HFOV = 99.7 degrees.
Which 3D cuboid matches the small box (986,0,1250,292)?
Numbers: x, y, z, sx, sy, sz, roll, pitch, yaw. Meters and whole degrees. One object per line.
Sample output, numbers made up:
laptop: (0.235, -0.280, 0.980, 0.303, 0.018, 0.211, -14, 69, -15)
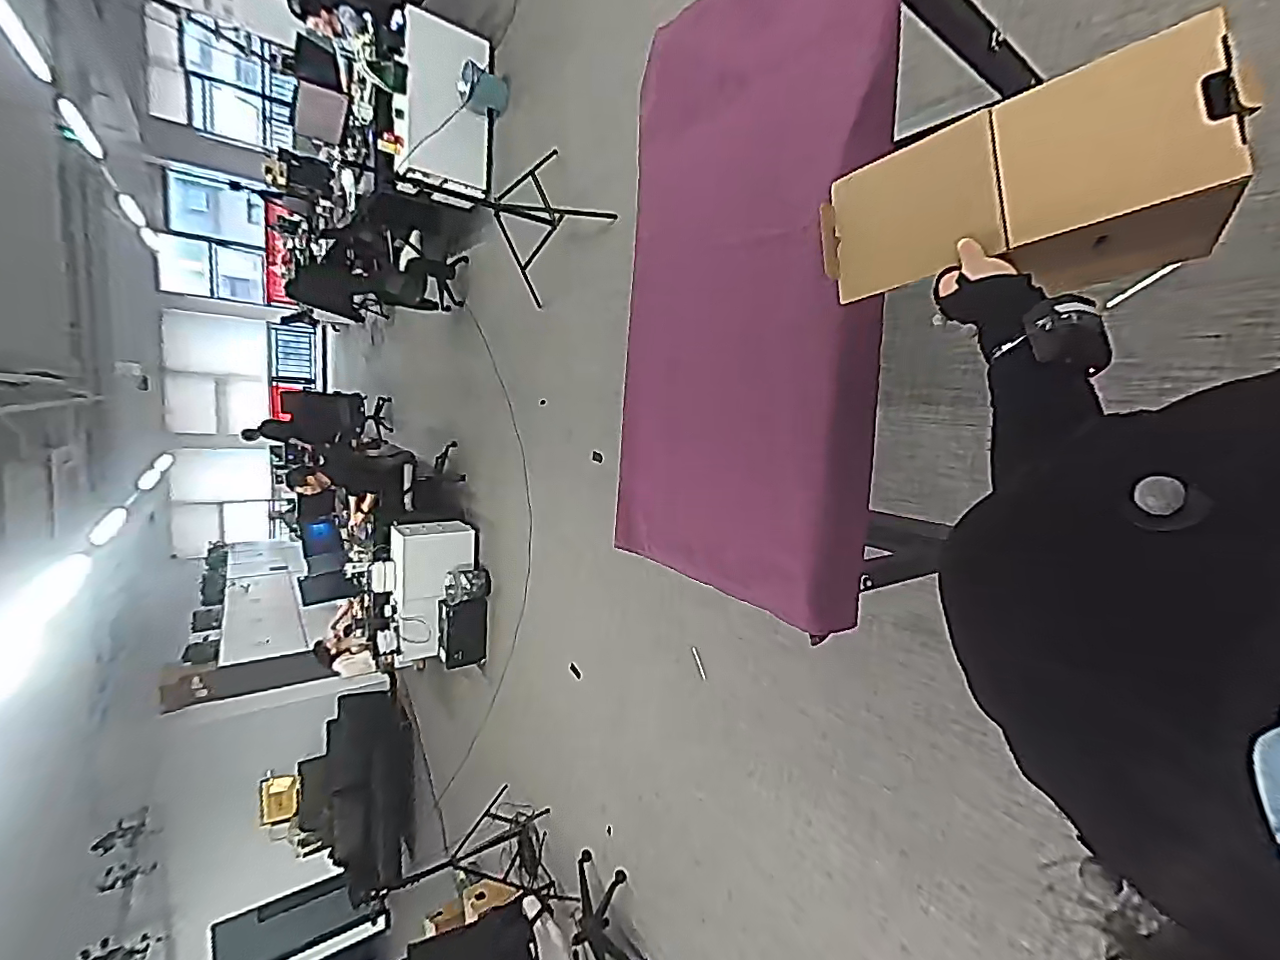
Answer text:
small box: (0.483, -0.320, 0.567, 0.179, 0.176, 0.168, -7, 83, 38)
